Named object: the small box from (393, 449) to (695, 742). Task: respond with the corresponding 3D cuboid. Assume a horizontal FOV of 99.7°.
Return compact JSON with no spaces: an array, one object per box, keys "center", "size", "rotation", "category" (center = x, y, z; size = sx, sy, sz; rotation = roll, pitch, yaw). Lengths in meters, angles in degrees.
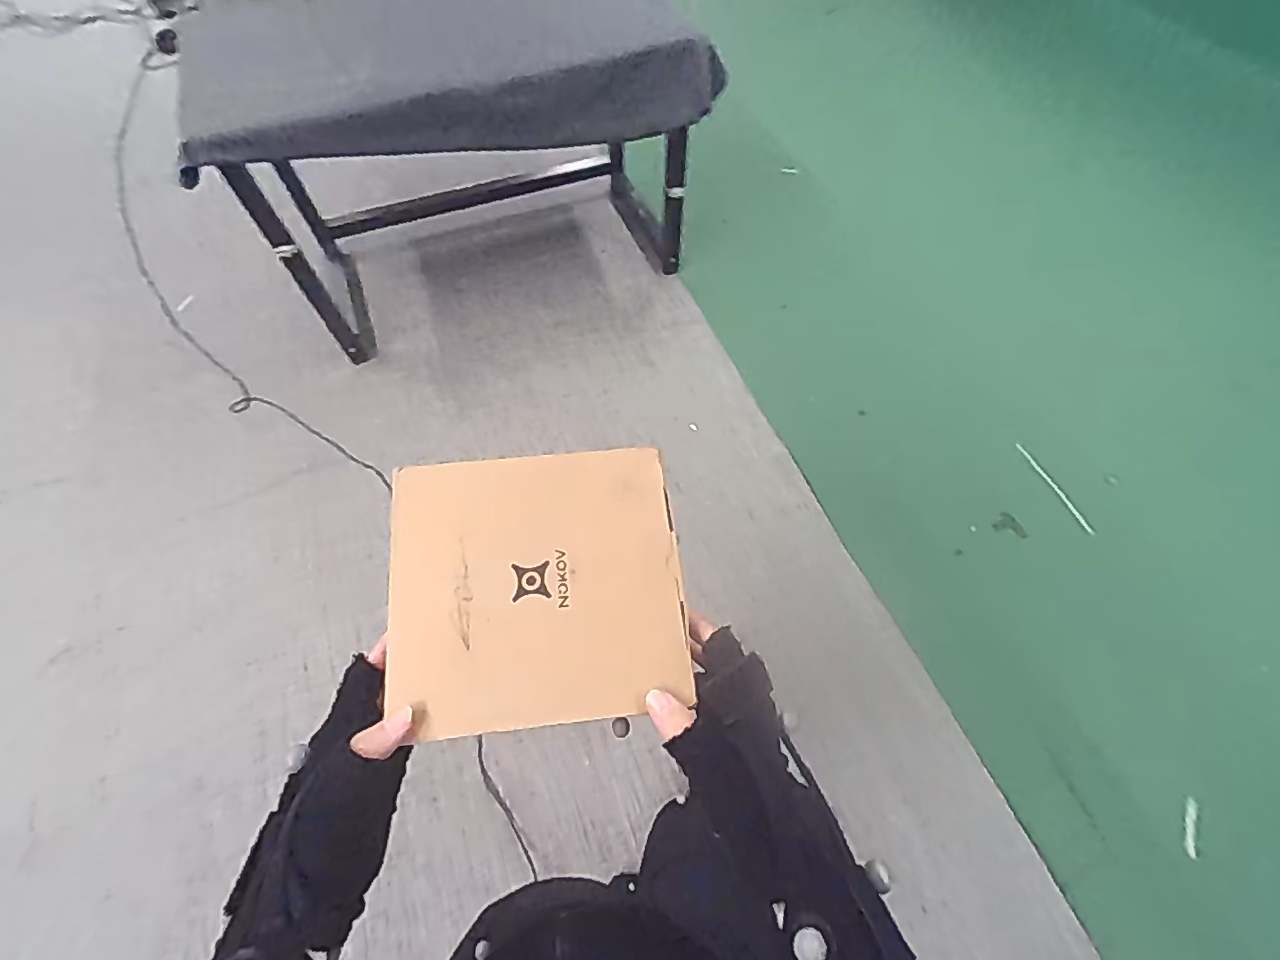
[{"center":[-0.068,0.092,0.413],"size":[0.179,0.176,0.168],"rotation":[-7,68,-6],"category":"small box"}]
